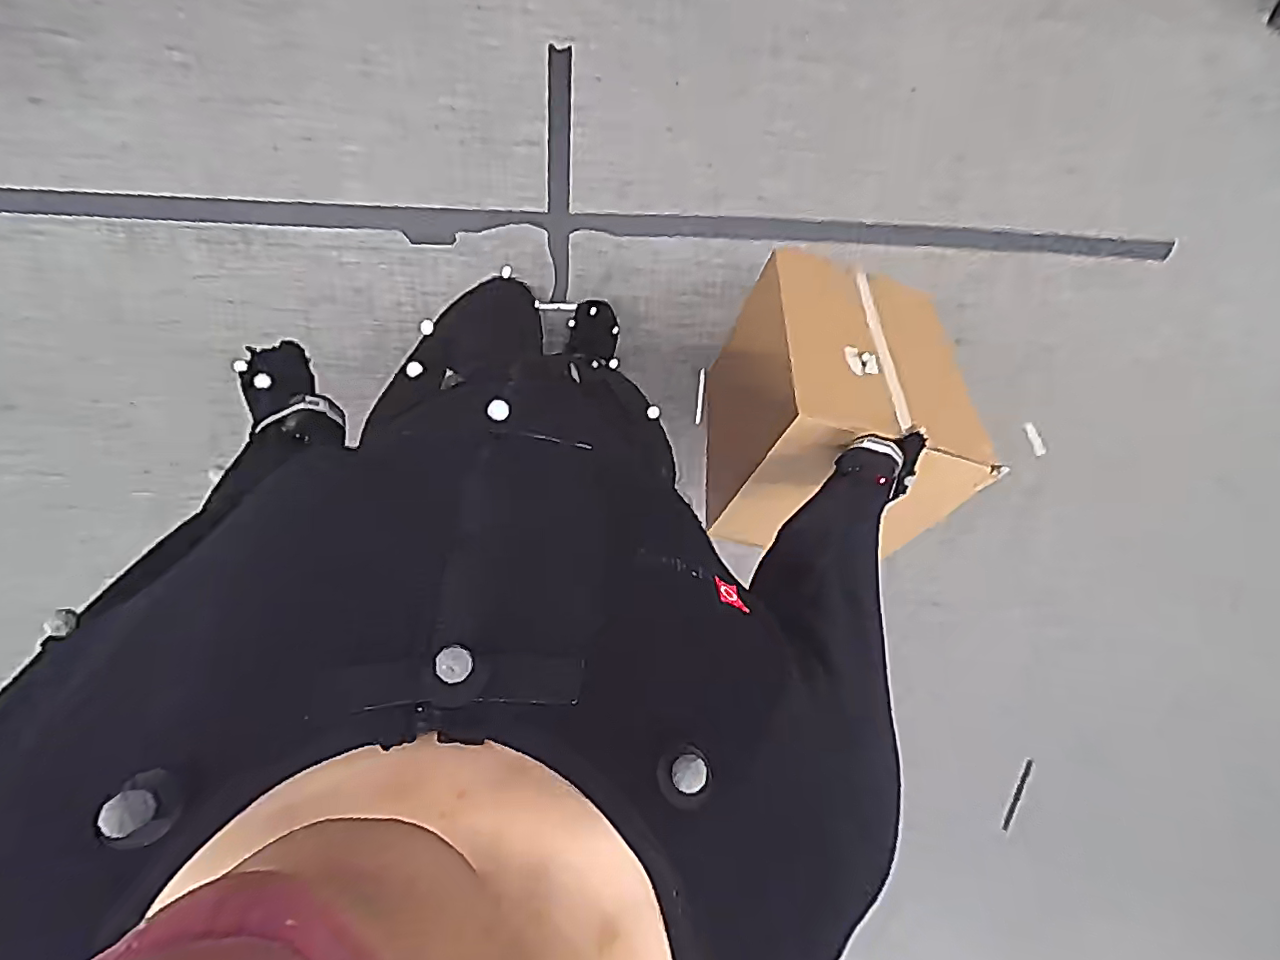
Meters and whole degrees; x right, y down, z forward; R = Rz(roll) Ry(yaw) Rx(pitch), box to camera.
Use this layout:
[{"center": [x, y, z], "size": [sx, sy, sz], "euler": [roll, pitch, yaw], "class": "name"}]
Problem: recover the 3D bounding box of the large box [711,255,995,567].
[{"center": [0.325, -0.112, 0.959], "size": [0.320, 0.408, 0.320], "euler": [13, 144, -10], "class": "large box"}]
